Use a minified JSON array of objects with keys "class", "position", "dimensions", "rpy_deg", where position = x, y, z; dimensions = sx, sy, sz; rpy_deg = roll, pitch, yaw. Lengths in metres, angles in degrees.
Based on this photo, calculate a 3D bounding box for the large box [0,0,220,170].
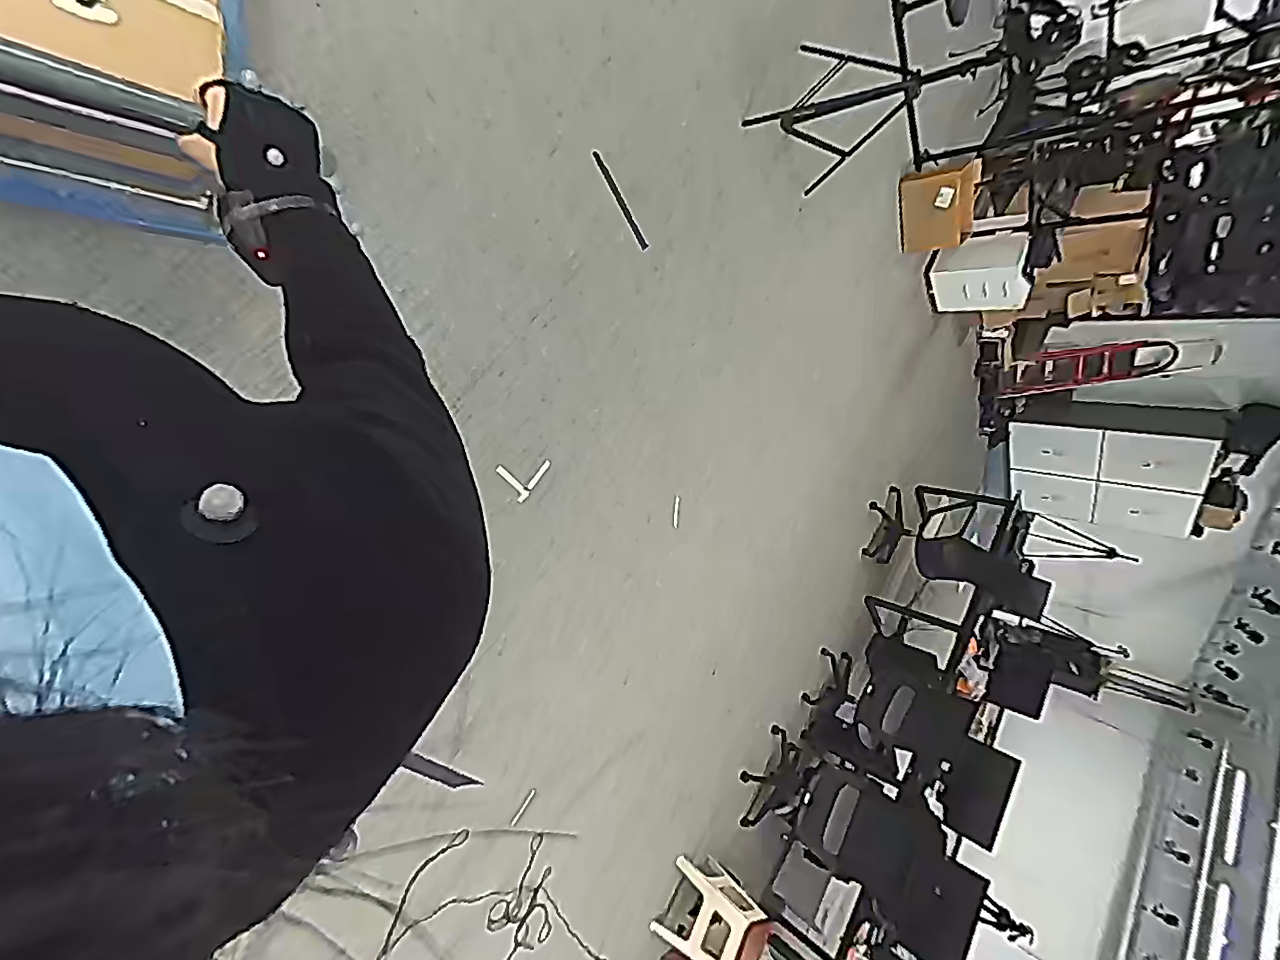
[{"class":"large box","position":[-0.840,-0.662,0.707],"dimensions":[0.408,0.320,0.320],"rpy_deg":[-6,105,-47]}]
